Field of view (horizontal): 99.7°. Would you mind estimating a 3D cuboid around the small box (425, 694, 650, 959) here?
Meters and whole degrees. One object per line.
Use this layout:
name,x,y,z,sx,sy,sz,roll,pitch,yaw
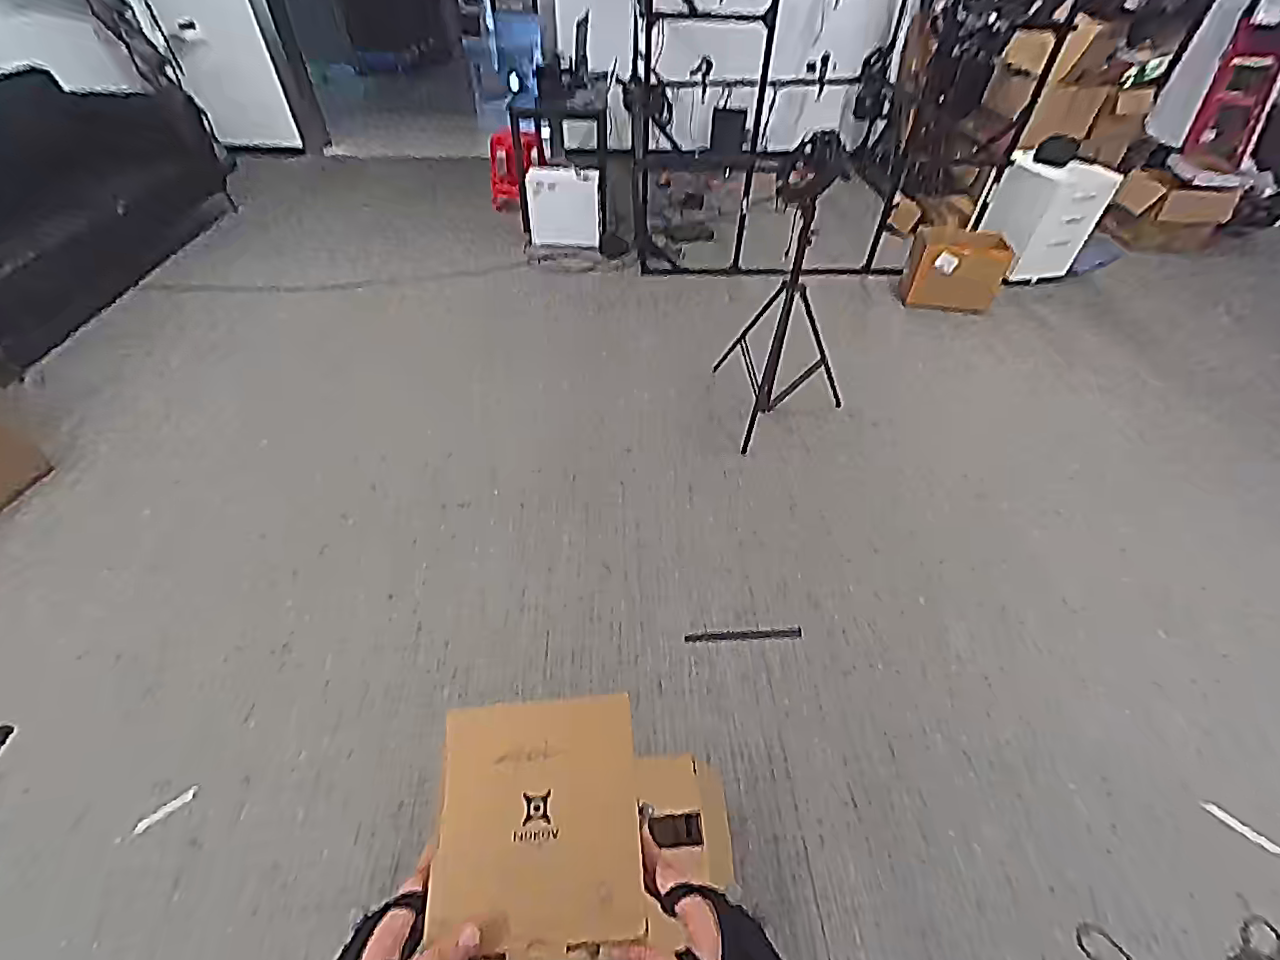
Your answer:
small box,-0.080,0.311,0.497,0.168,0.176,0.179,-4,56,-4
